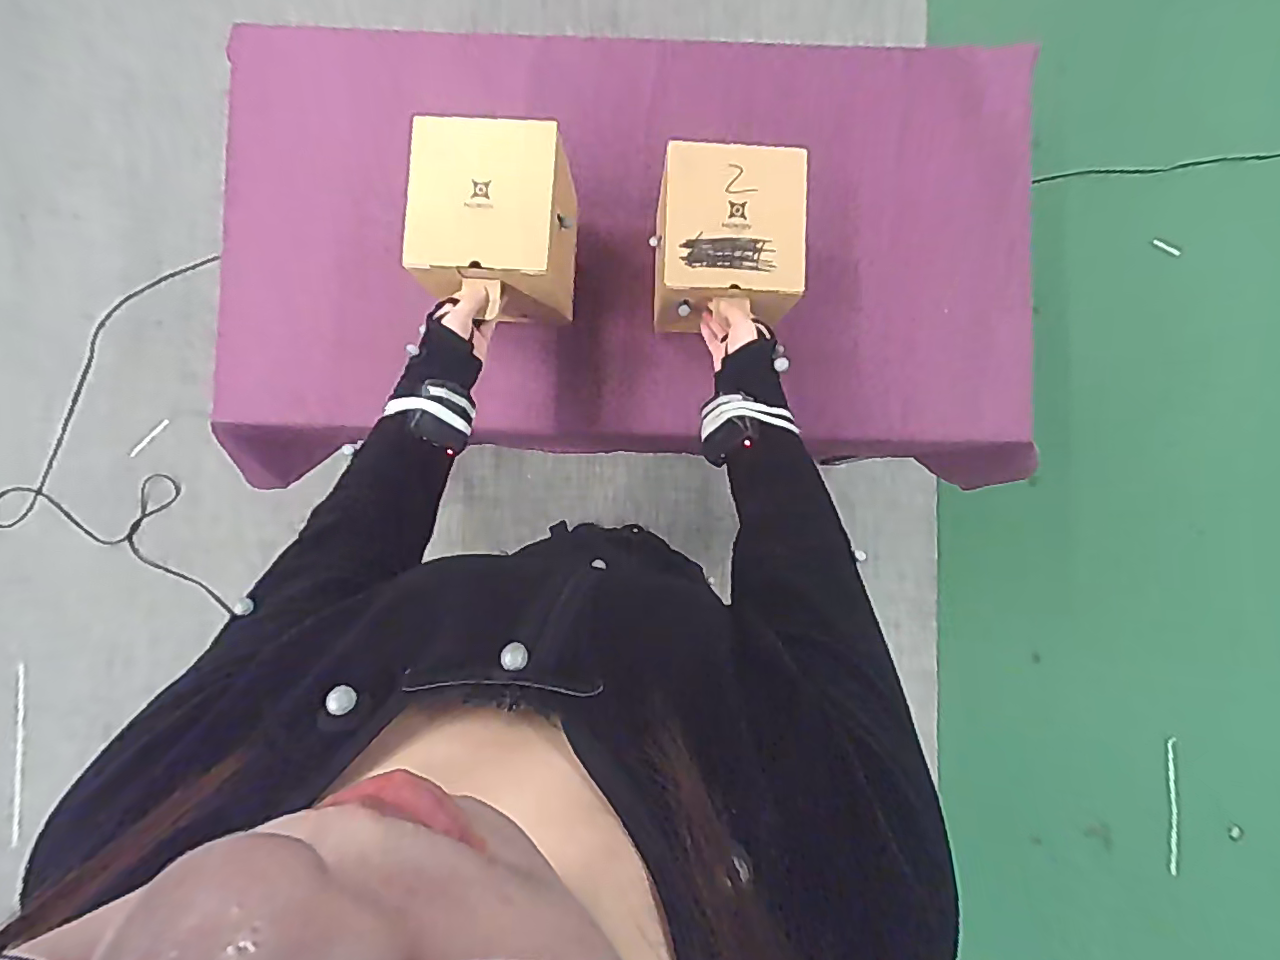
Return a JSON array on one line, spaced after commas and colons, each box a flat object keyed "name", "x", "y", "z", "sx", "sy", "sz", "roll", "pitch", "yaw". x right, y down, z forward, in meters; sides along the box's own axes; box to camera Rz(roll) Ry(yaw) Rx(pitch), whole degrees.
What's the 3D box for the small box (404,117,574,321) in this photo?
[{"name": "small box", "x": -0.180, "y": -0.322, "z": 0.696, "sx": 0.168, "sy": 0.176, "sz": 0.179, "roll": 4, "pitch": 88, "yaw": 1}]
